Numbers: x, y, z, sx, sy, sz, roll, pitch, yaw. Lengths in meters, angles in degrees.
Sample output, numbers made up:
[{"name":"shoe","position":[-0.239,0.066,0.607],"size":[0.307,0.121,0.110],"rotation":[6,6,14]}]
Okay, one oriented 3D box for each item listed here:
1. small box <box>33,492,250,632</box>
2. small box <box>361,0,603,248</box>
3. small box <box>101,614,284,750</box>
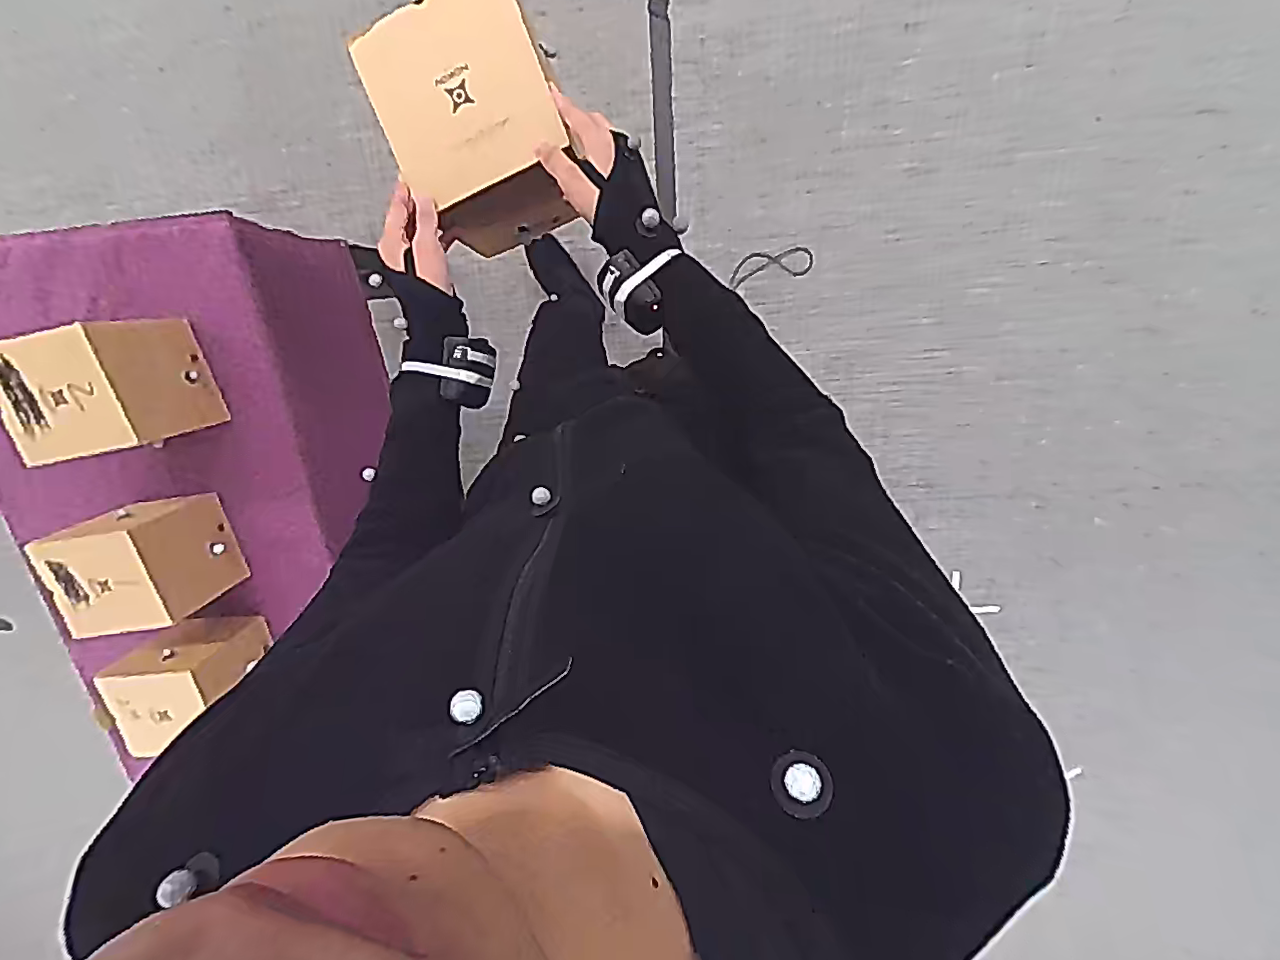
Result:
[{"name":"small box","position":[-0.813,0.130,0.904],"size":[0.179,0.176,0.168],"rotation":[-8,108,6]},{"name":"small box","position":[-0.155,-0.386,0.589],"size":[0.168,0.176,0.179],"rotation":[-20,95,10]},{"name":"small box","position":[-0.787,0.358,0.979],"size":[0.179,0.176,0.168],"rotation":[-5,108,6]}]
